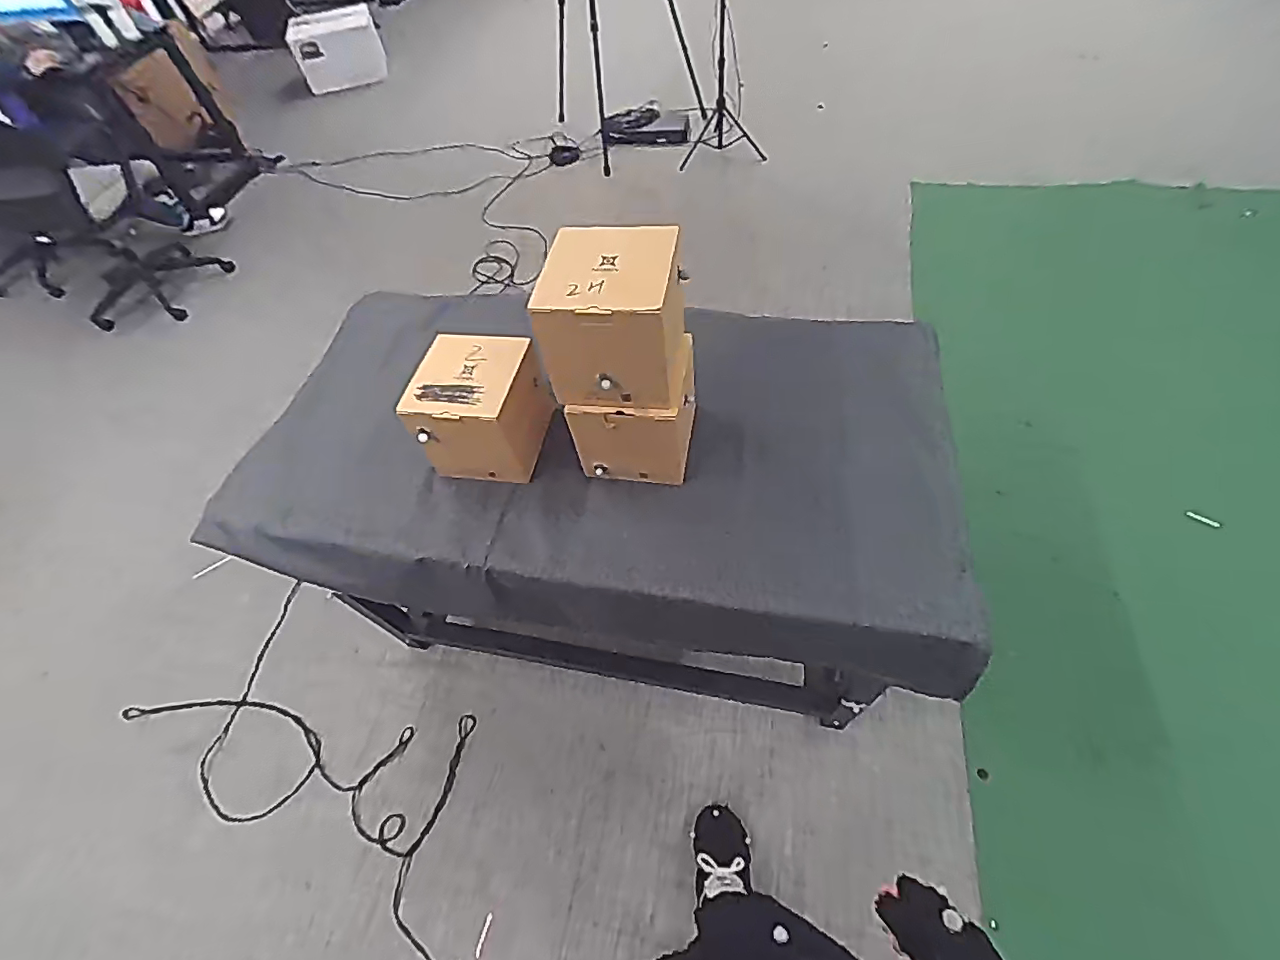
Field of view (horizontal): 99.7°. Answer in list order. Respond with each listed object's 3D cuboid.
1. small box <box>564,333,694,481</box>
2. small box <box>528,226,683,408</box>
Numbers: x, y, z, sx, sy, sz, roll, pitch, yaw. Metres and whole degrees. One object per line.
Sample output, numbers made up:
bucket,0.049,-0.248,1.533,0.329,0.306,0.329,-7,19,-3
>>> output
small box,-0.006,-0.116,0.864,0.168,0.176,0.179,5,56,11
small box,-0.033,-0.221,0.739,0.168,0.176,0.179,4,57,11
